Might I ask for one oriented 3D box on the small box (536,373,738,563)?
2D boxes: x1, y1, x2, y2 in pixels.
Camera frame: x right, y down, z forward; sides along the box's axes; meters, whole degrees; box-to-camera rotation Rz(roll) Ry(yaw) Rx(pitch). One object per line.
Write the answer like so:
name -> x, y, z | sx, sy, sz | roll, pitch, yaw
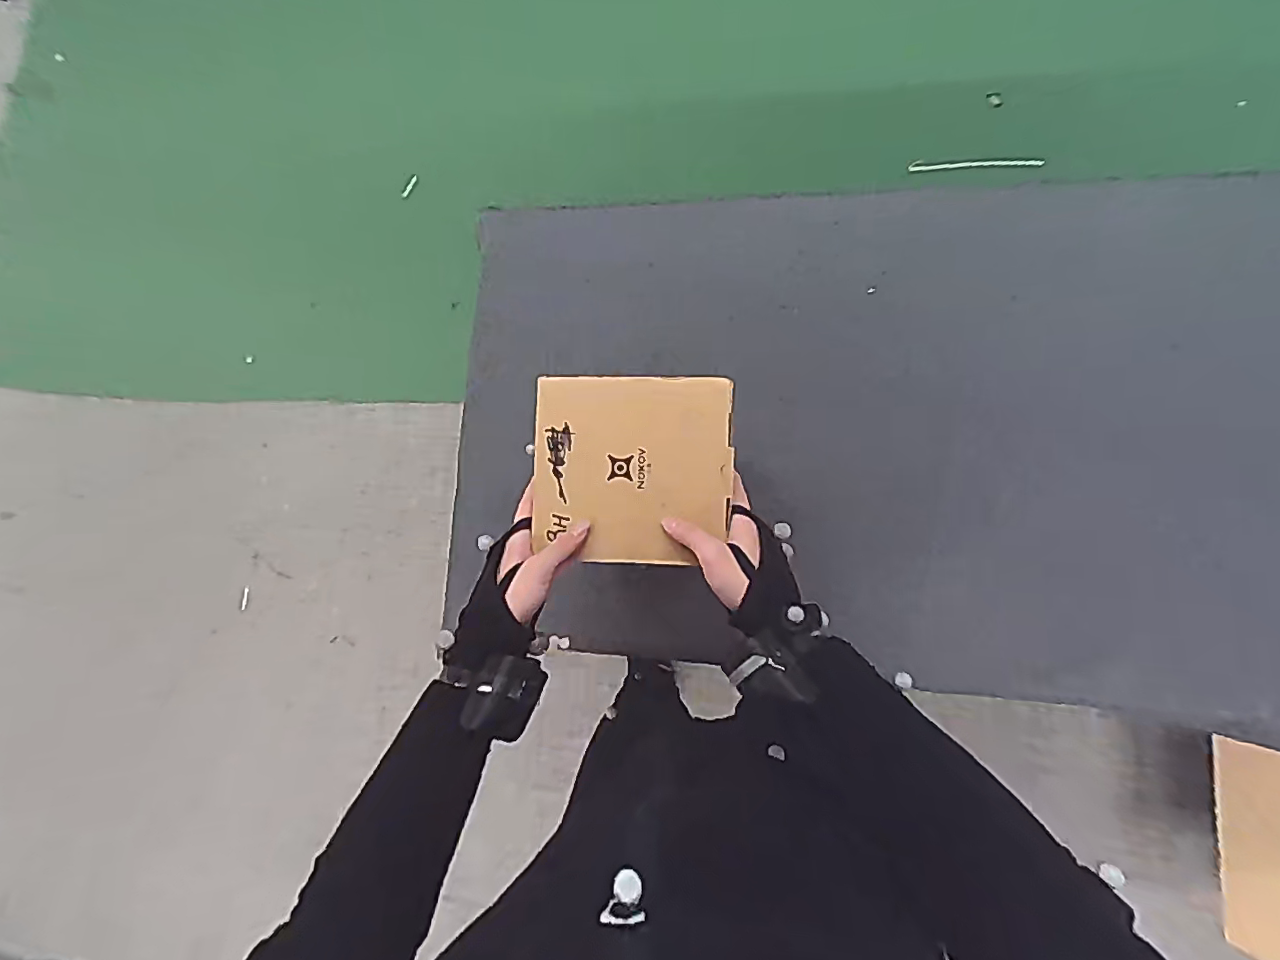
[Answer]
small box -> 0.003, -0.009, 0.559 | 0.179, 0.176, 0.168 | 2, 87, 5
